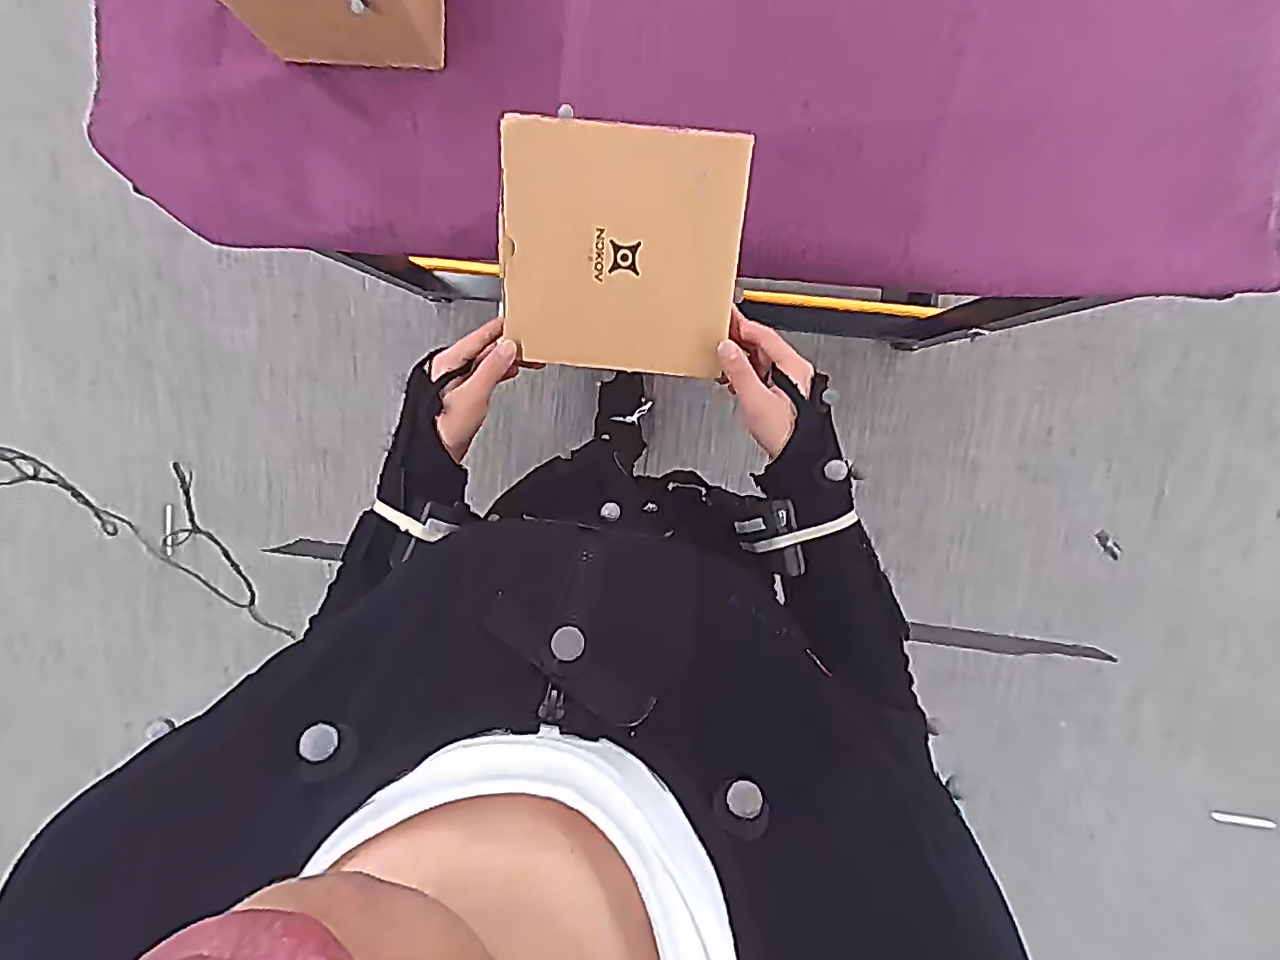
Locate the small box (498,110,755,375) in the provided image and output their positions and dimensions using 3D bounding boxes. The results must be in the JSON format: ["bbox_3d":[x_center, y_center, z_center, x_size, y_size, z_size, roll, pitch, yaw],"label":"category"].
[{"bbox_3d":[-0.010,-0.193,0.463,0.179,0.176,0.168,6,111,3],"label":"small box"}]
